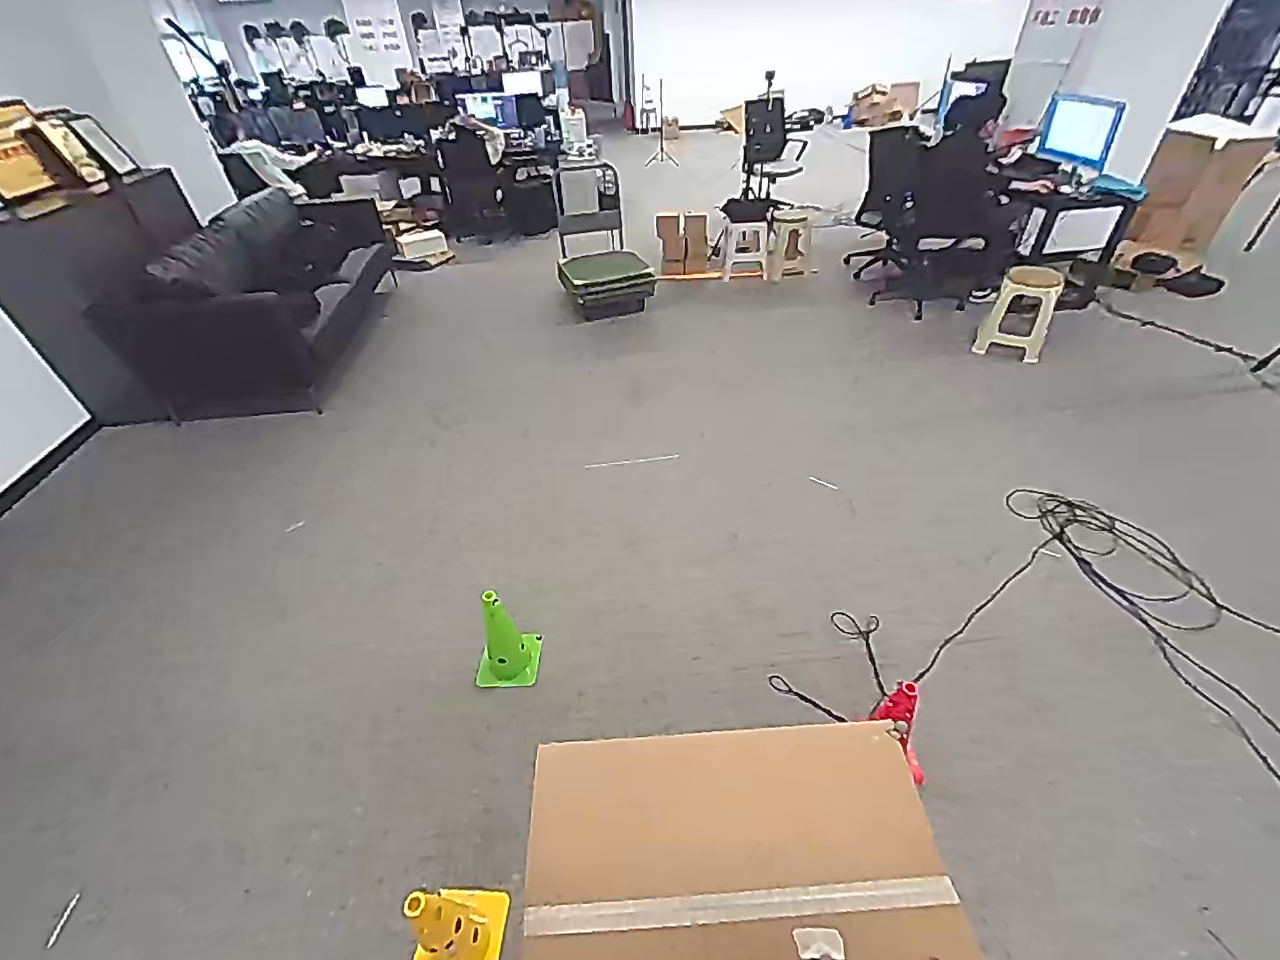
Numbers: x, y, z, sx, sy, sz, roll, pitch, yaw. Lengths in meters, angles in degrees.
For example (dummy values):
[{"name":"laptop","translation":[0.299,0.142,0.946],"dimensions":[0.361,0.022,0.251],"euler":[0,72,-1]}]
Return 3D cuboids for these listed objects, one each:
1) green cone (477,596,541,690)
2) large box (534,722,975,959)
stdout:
[{"name":"green cone","translation":[-0.457,0.496,1.746],"dimensions":[0.200,0.368,0.202],"euler":[-3,41,2]},{"name":"large box","translation":[0.103,0.510,0.619],"dimensions":[0.408,0.320,0.320],"euler":[-5,46,-1]}]
